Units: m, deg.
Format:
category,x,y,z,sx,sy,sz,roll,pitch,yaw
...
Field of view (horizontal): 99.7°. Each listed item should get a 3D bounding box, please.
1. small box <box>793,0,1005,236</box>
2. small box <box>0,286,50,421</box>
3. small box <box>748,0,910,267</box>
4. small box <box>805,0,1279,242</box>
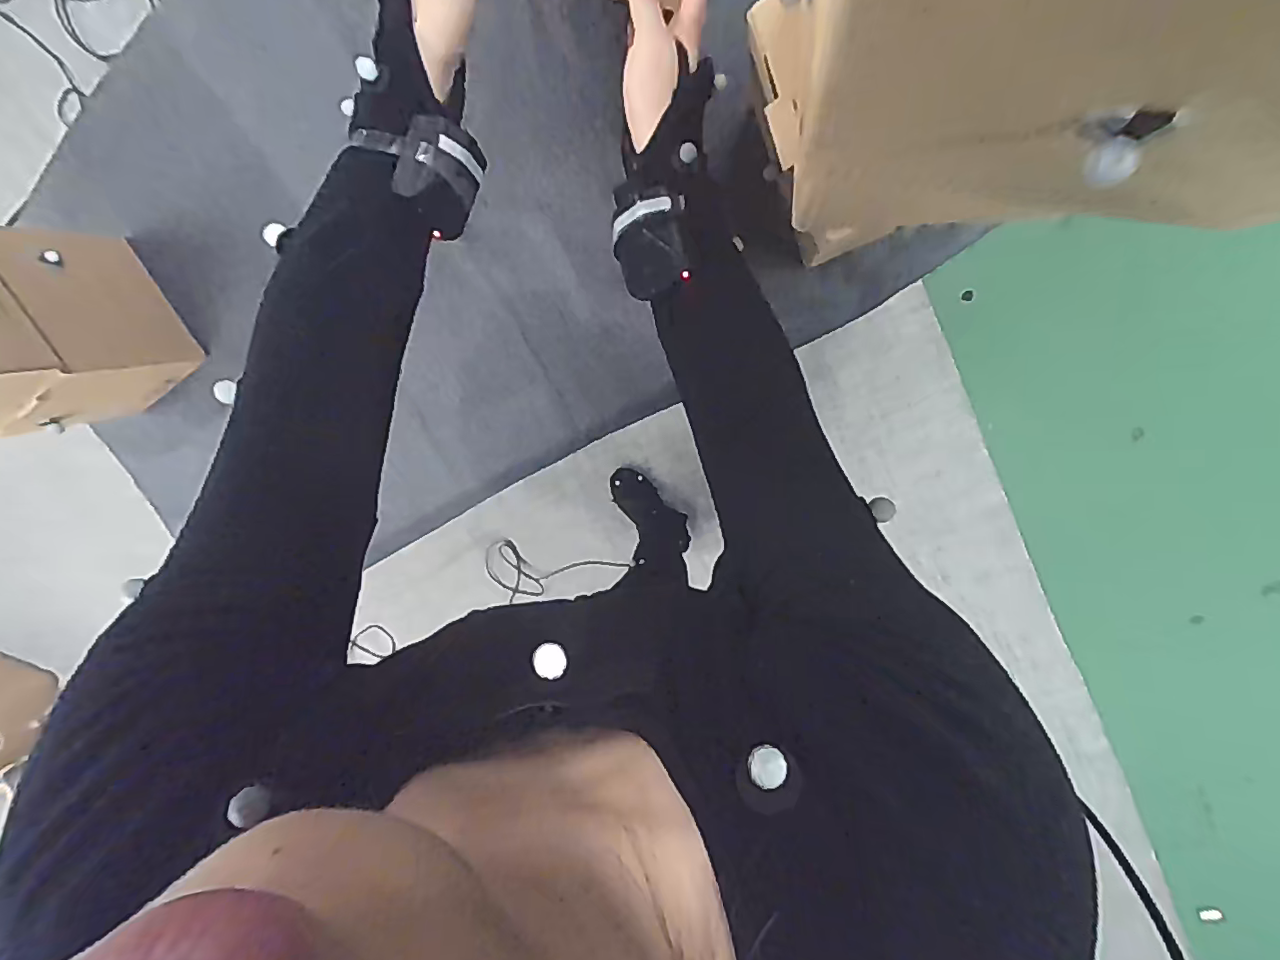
category,x,y,z,sx,sy,sz,roll,pitch,yaw
small box,0.175,-0.229,0.277,0.179,0.176,0.168,2,106,12
small box,-0.728,-0.125,0.500,0.179,0.176,0.168,-25,103,18
small box,0.199,-0.286,0.429,0.179,0.176,0.168,-19,101,18
small box,0.149,-0.162,0.127,0.179,0.176,0.168,12,108,9
